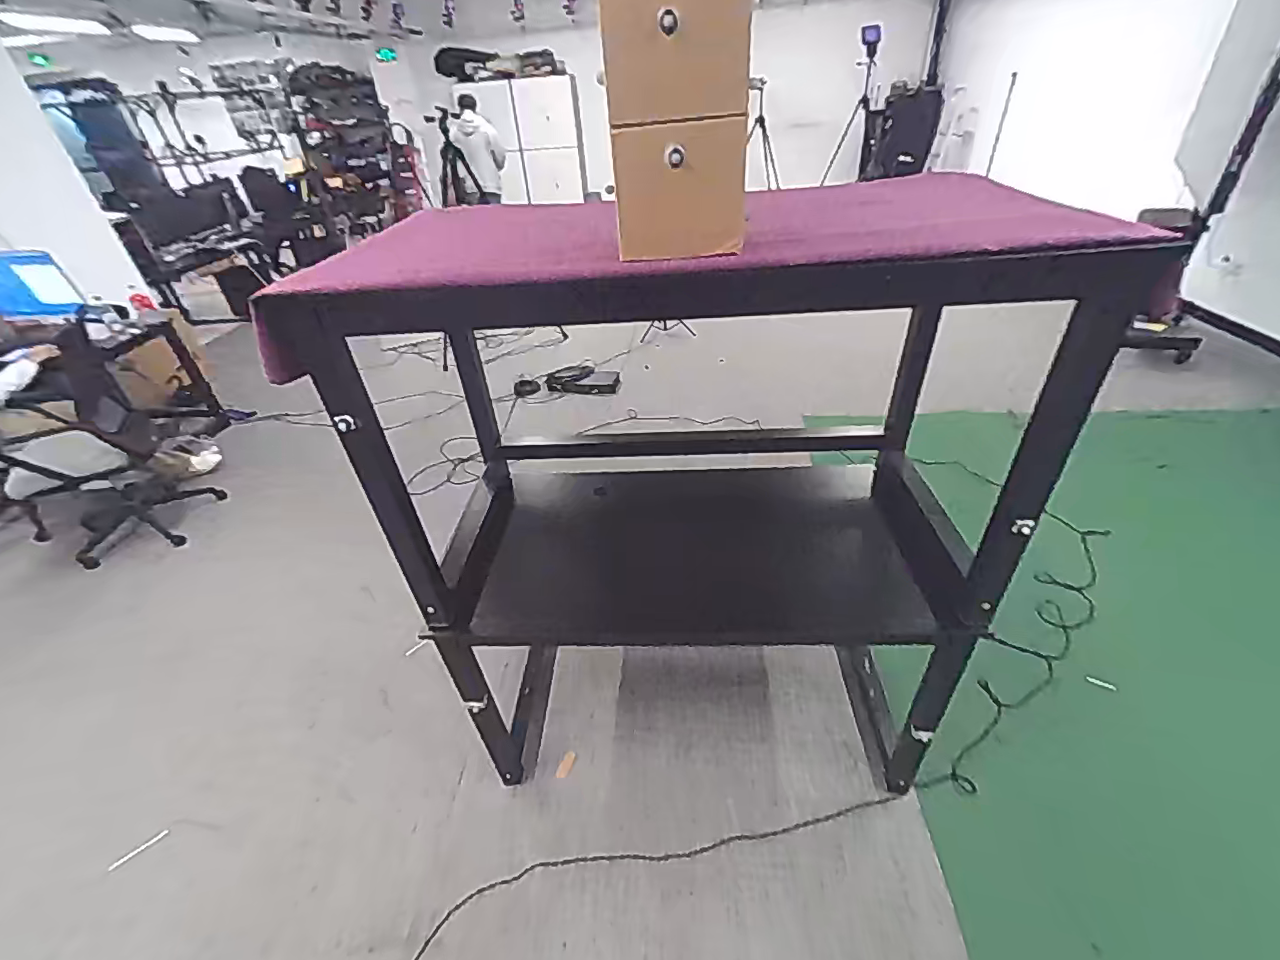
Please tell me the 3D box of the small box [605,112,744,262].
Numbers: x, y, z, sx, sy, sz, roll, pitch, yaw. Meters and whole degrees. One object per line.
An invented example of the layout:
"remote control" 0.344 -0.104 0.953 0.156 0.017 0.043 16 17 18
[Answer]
"small box" 0.052 -0.421 0.776 0.179 0.176 0.168 -2 36 4

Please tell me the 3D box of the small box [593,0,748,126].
"small box" 0.040 -0.554 0.681 0.179 0.176 0.168 -4 36 5
